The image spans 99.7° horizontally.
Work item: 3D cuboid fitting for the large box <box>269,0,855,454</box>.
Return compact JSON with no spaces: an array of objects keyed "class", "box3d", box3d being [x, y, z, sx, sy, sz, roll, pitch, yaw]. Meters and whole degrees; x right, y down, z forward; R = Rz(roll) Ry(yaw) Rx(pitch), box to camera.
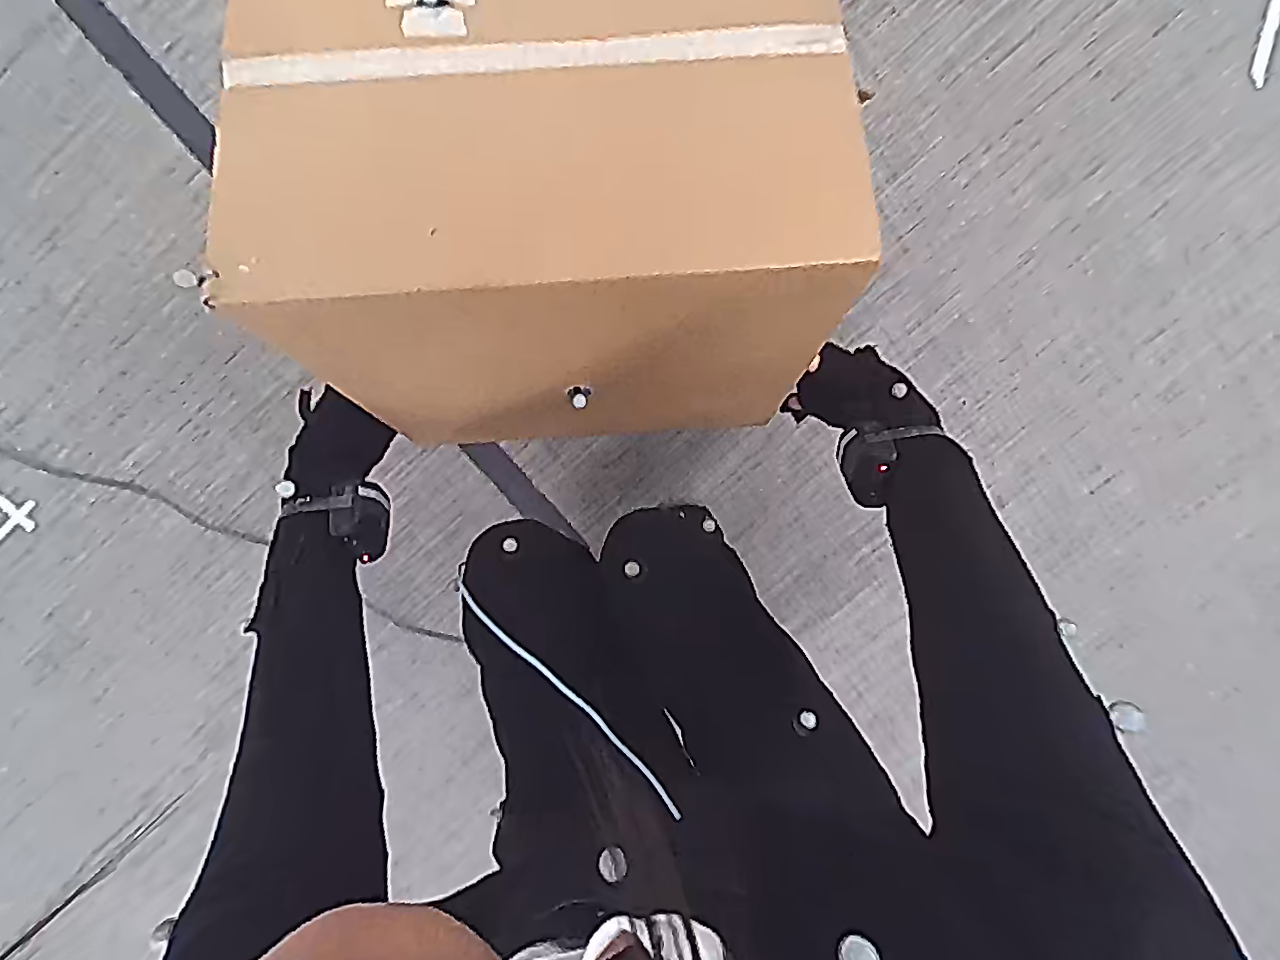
[{"class":"large box","box3d":[-0.061,-0.229,0.543,0.408,0.320,0.320,-5,74,0]}]
